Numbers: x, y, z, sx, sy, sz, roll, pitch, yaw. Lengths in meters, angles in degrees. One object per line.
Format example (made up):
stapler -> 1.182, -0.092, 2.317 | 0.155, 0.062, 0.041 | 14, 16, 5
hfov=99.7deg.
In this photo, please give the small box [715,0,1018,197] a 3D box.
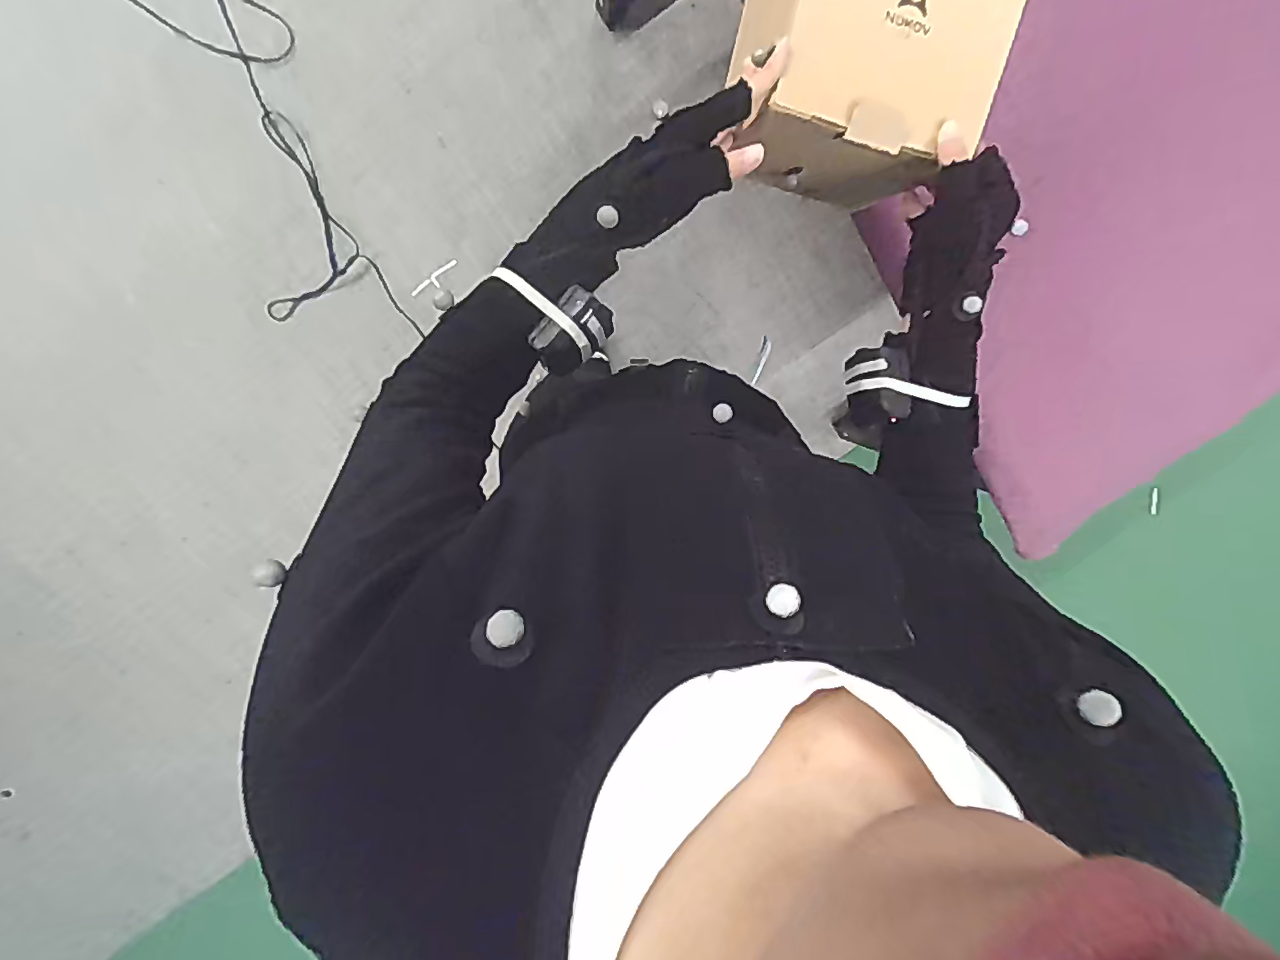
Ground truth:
small box -> 0.174, -0.363, 0.450 | 0.168, 0.176, 0.179 | 9, 106, -11
